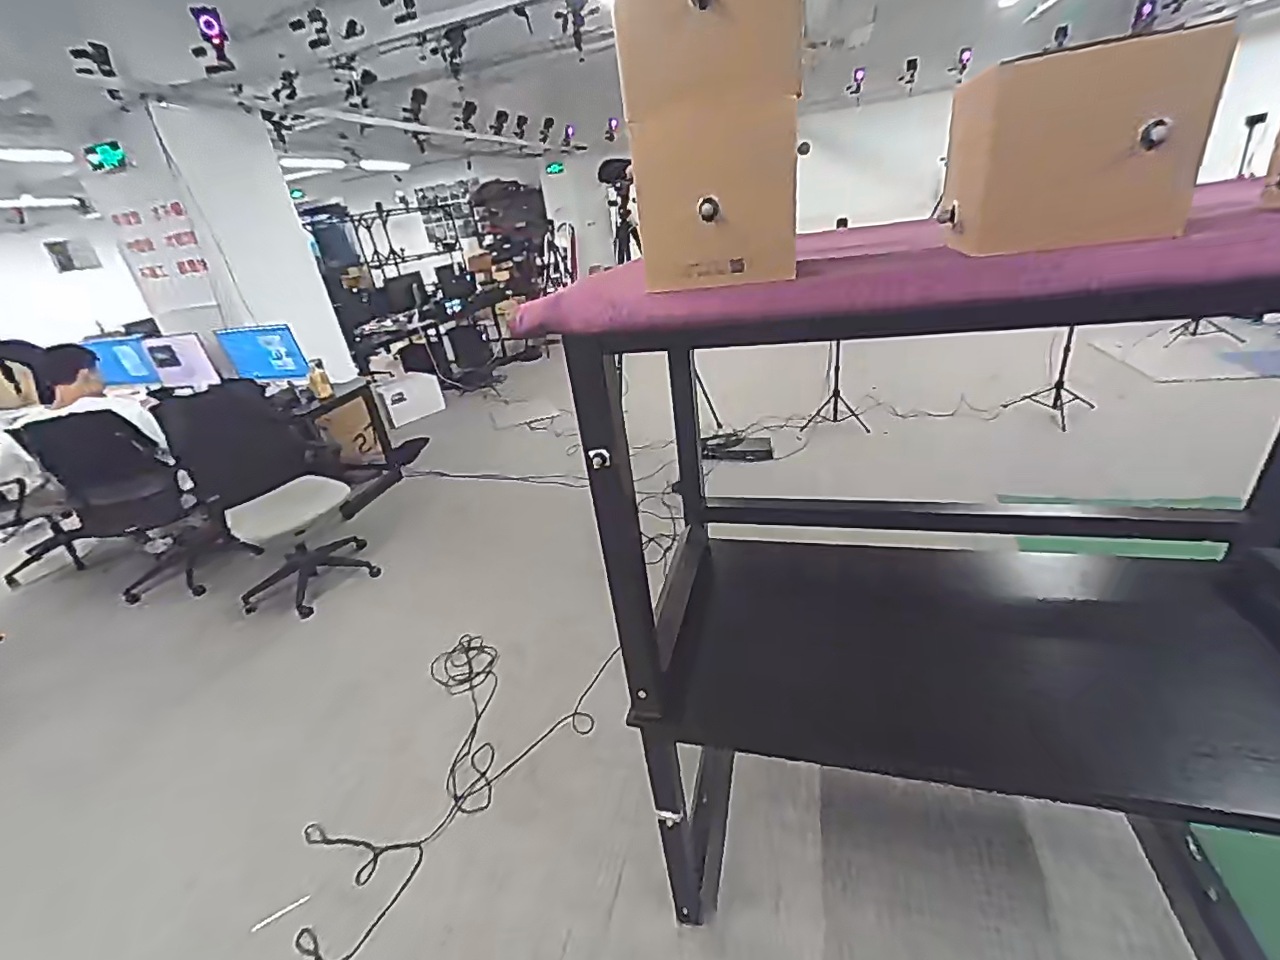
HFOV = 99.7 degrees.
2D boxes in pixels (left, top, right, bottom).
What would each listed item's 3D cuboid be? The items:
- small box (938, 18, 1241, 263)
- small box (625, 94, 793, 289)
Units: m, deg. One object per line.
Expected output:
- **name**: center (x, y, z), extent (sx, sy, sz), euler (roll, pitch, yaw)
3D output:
- **small box**: center (0.427, -0.331, 0.556), extent (0.179, 0.176, 0.168), euler (-1, 27, 16)
- **small box**: center (0.092, -0.322, 0.626), extent (0.168, 0.176, 0.179), euler (0, 29, 15)
